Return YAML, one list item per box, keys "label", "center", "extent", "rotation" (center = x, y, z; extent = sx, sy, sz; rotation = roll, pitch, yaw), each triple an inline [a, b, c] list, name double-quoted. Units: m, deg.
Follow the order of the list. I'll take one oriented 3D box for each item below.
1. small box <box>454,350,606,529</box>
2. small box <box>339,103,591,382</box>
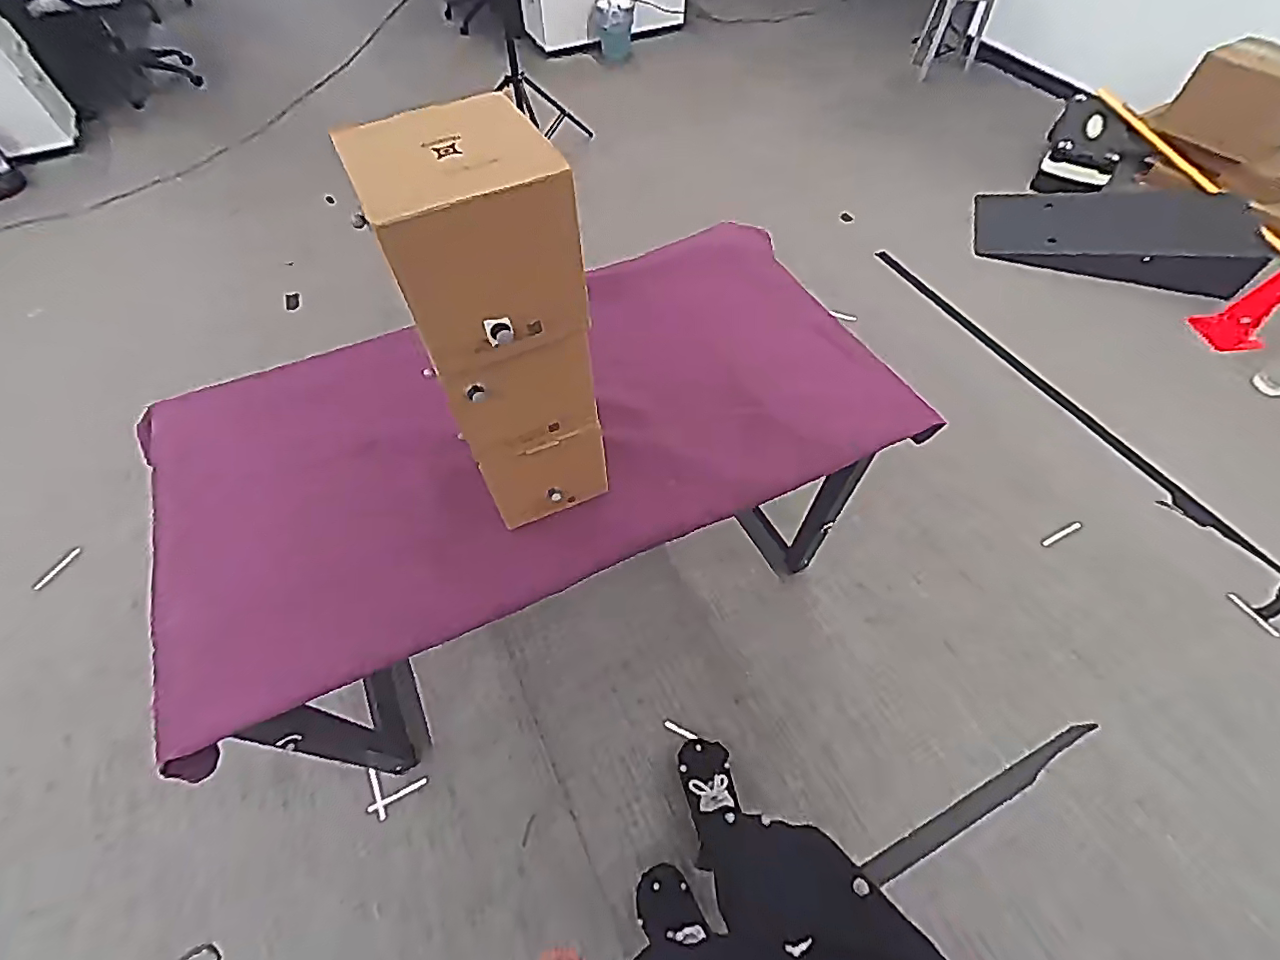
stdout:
- label: "small box"
  center: [-0.159, -0.058, 0.811]
  extent: [0.168, 0.176, 0.179]
  rotation: [-21, 59, -12]
- label: "small box"
  center: [-0.161, -0.230, 0.533]
  extent: [0.168, 0.176, 0.179]
  rotation: [-25, 60, -14]
